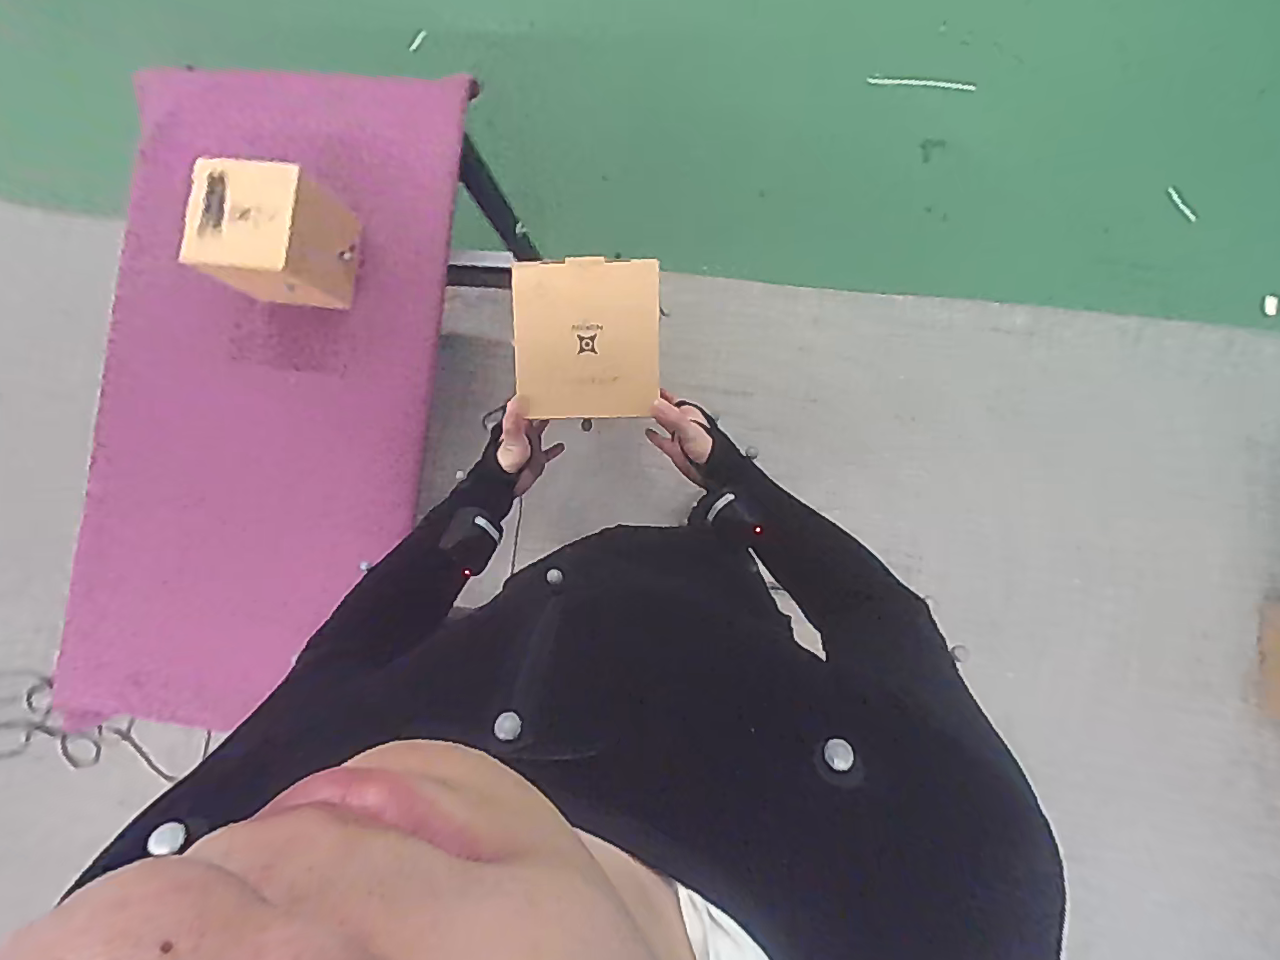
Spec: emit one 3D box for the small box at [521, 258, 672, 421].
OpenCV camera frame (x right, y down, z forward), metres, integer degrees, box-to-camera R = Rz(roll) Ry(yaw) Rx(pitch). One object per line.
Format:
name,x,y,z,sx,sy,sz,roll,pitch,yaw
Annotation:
small box,-0.048,-0.163,0.672,0.168,0.176,0.179,0,98,1
